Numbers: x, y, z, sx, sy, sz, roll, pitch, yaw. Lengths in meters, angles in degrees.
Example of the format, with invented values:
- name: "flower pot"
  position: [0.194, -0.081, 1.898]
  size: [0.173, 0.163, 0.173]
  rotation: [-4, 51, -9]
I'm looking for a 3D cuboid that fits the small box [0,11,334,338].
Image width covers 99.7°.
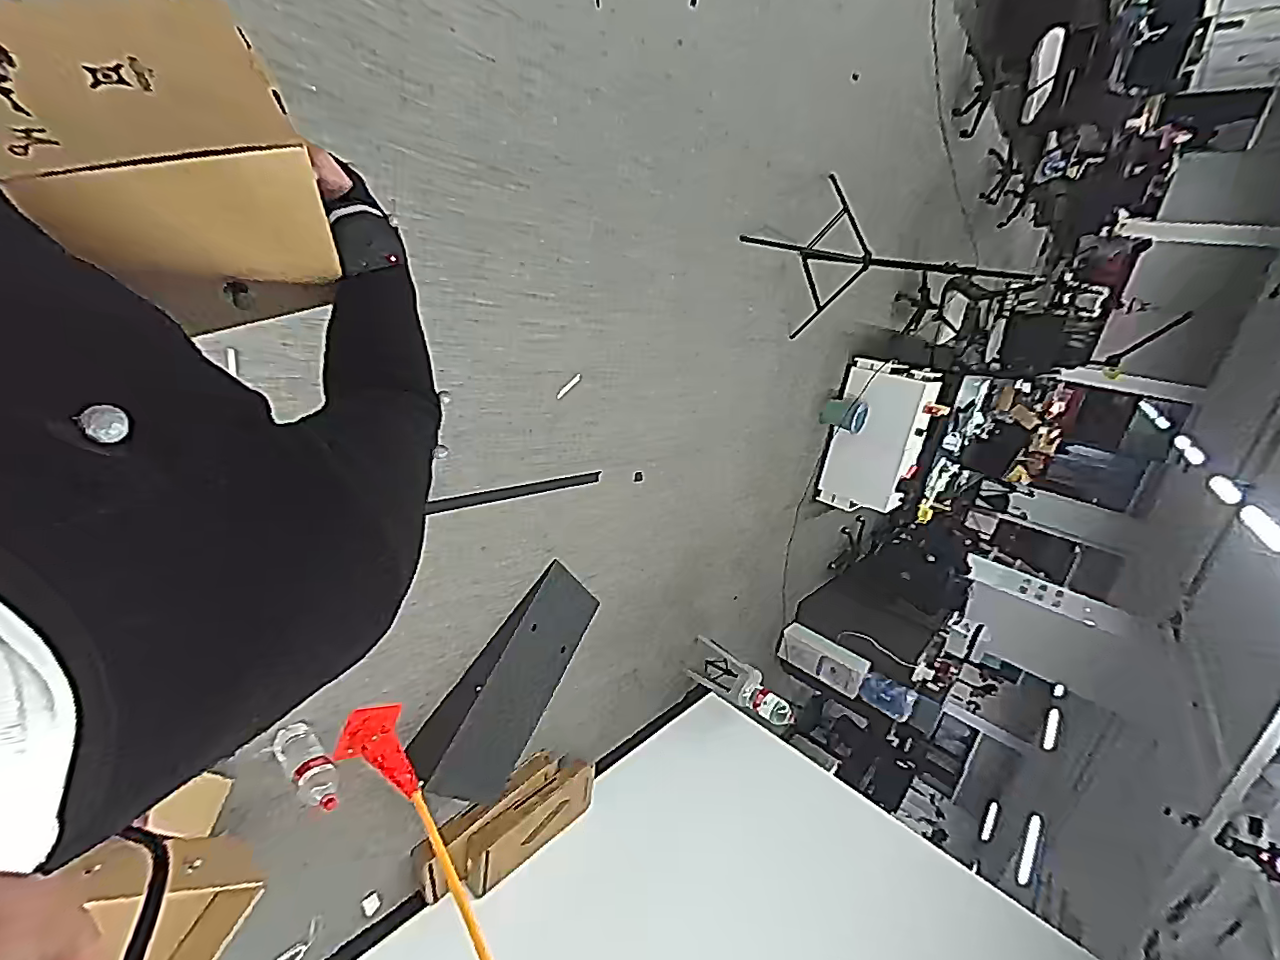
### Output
- name: "small box"
  position: [-0.387, -0.252, 0.464]
  size: [0.179, 0.168, 0.176]
  rotation: [-26, 166, -26]
